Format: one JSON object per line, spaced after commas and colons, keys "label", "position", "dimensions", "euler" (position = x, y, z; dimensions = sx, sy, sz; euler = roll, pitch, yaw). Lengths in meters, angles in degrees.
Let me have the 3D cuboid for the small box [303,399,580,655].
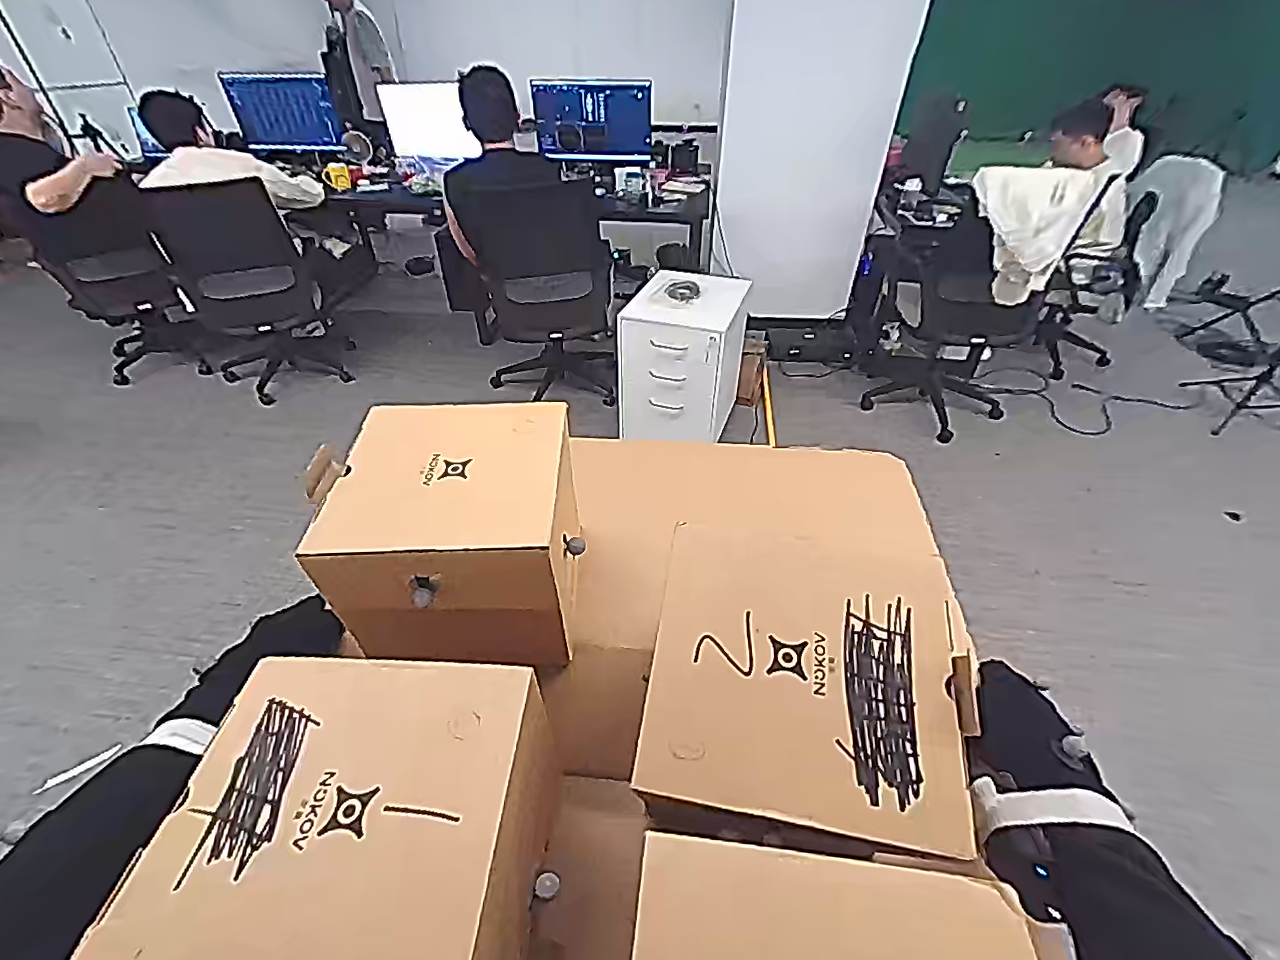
{"label": "small box", "position": [-0.150, 0.044, 0.490], "dimensions": [0.179, 0.176, 0.168], "euler": [-2, 44, 0]}
